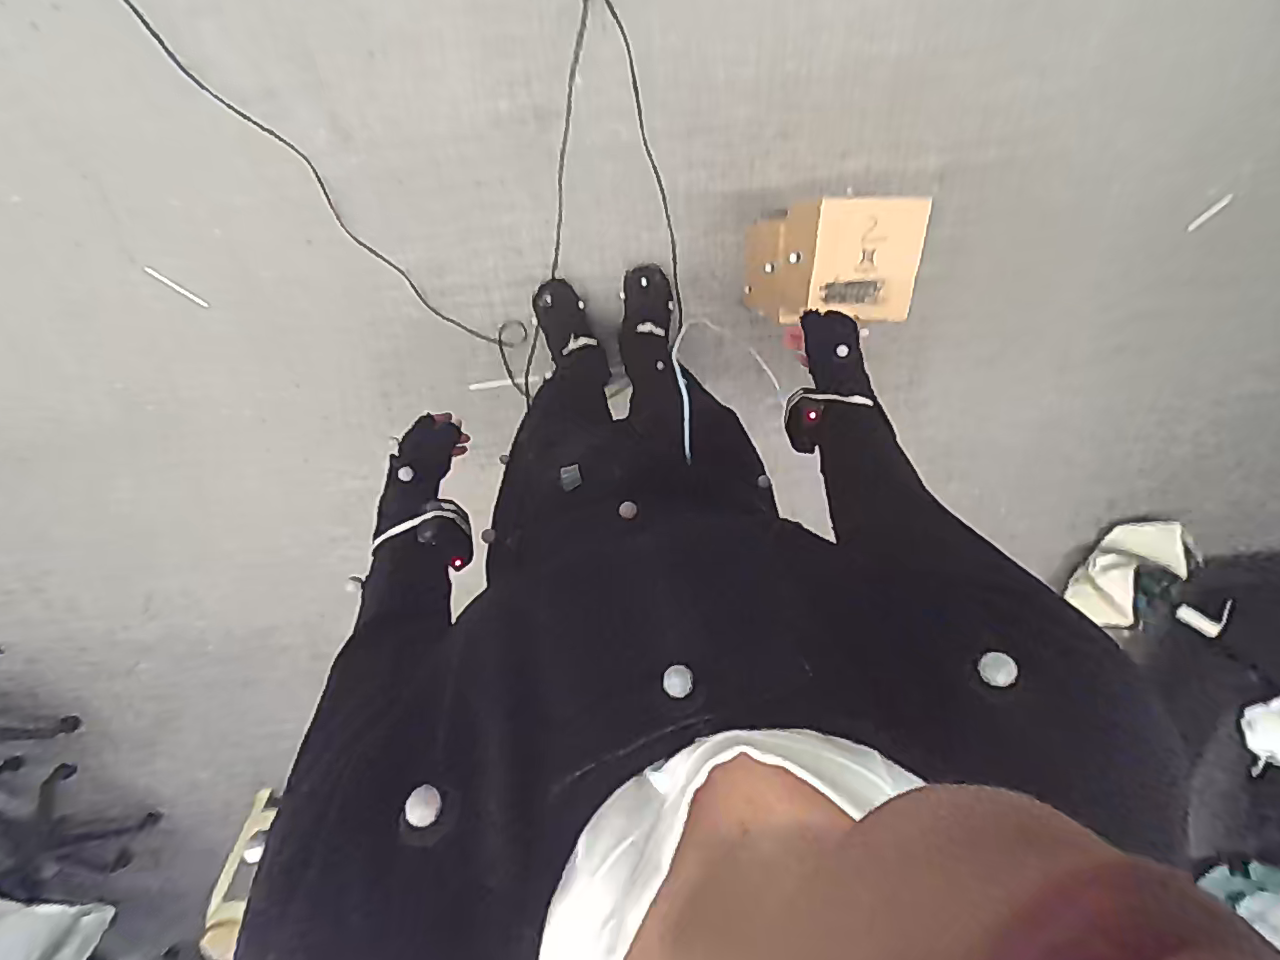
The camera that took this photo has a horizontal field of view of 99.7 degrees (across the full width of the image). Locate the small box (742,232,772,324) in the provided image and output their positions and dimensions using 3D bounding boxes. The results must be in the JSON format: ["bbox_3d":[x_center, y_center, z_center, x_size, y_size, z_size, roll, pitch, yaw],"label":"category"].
[{"bbox_3d":[0.329,-0.460,1.217,0.168,0.176,0.179,-3,117,-1],"label":"small box"}]

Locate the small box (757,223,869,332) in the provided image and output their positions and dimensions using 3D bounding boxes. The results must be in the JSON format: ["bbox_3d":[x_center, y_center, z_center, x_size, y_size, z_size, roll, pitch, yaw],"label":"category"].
[{"bbox_3d":[0.329,-0.402,1.062,0.168,0.176,0.179,-6,117,1],"label":"small box"}]
